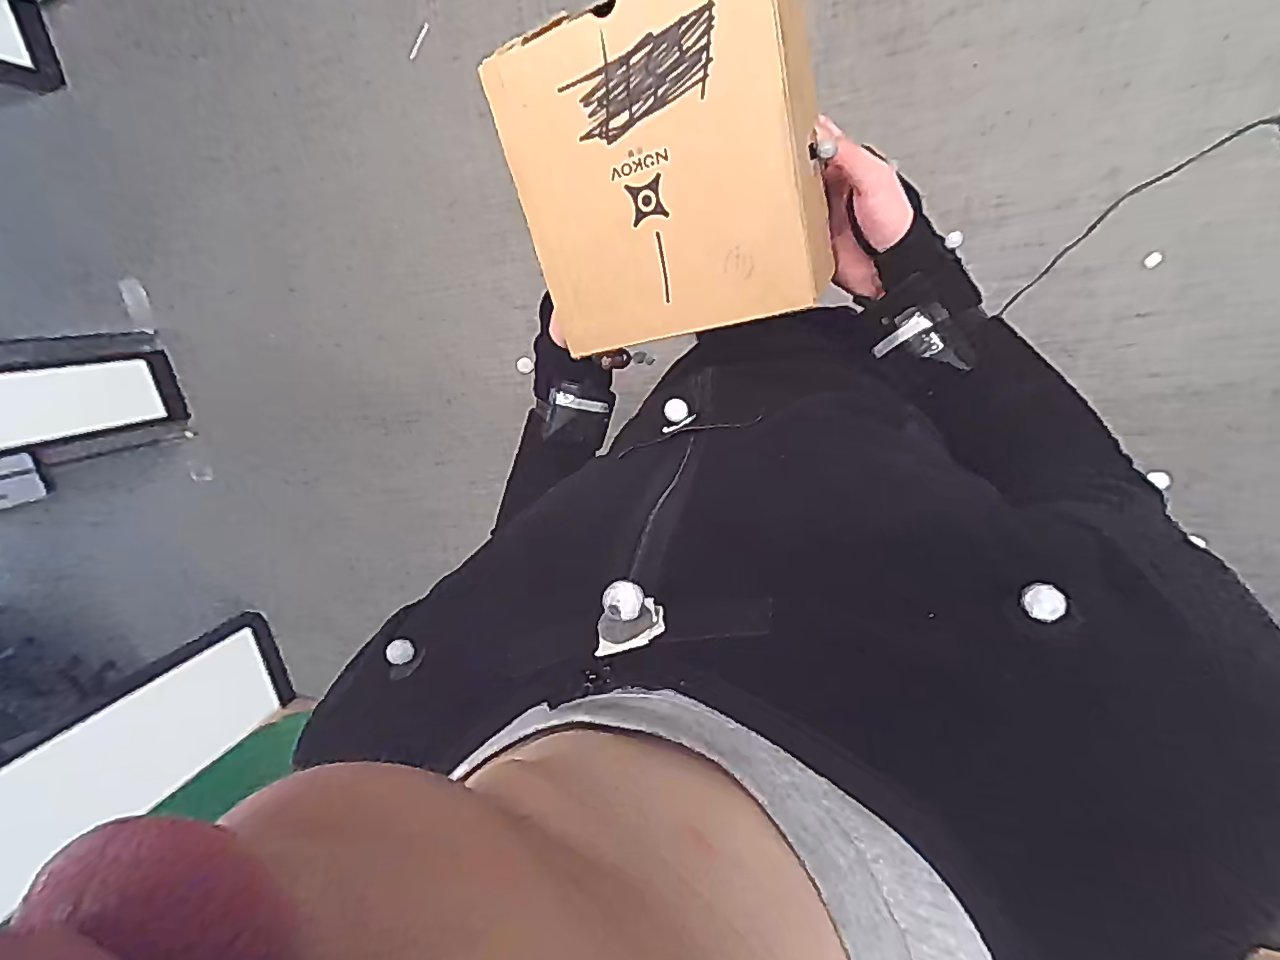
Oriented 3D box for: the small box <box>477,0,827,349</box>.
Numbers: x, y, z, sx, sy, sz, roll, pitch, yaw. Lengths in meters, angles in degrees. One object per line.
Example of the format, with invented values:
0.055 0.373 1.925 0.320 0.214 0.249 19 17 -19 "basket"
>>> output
0.029 -0.206 0.369 0.168 0.176 0.179 -4 116 26 "small box"
